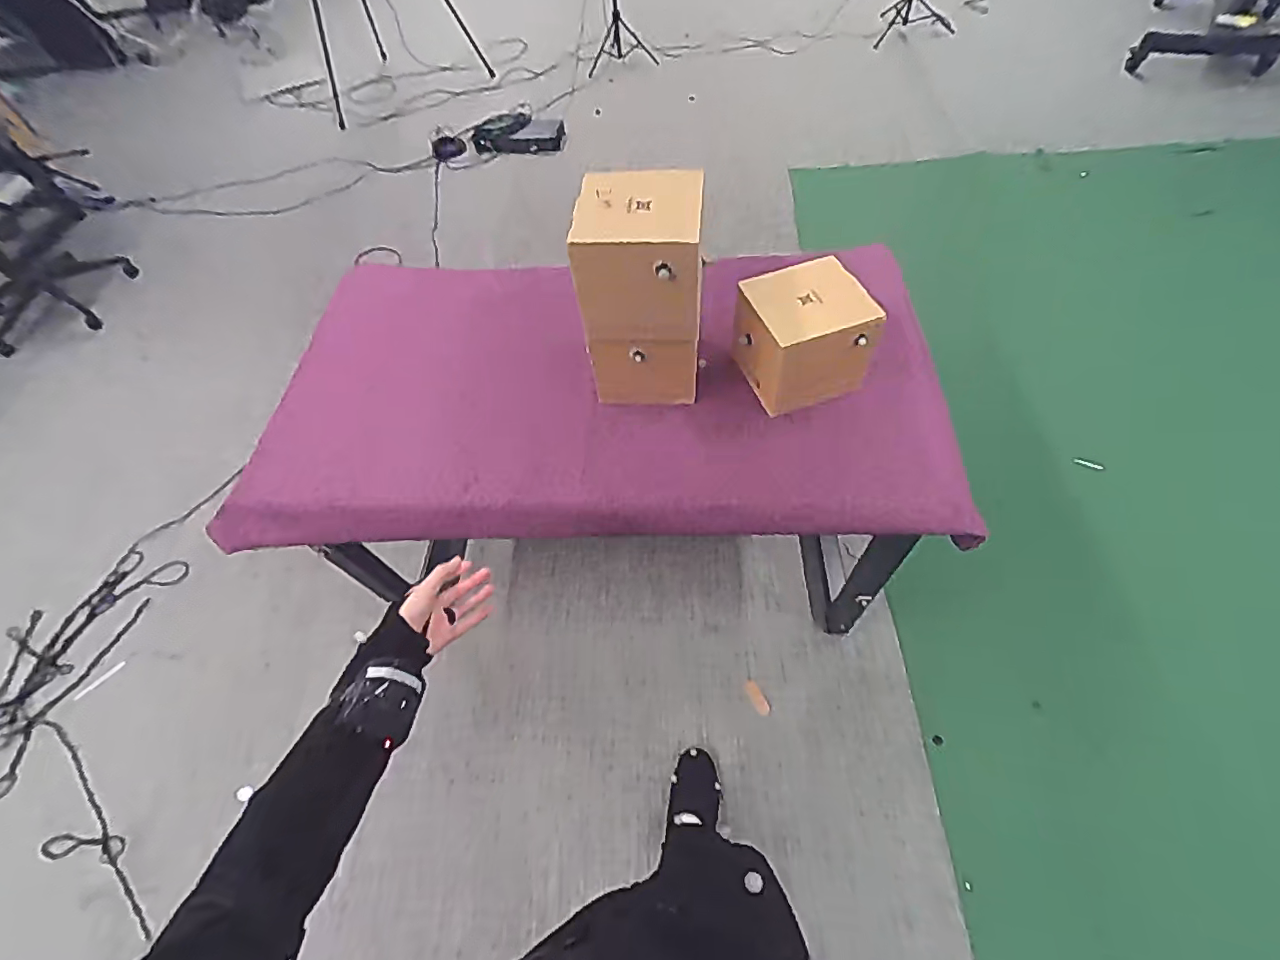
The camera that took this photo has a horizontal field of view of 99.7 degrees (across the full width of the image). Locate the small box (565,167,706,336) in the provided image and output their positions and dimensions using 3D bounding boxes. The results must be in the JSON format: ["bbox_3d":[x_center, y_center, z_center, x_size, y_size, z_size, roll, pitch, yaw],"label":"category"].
[{"bbox_3d":[0.003,-0.329,0.794,0.179,0.176,0.168,3,58,7],"label":"small box"}]

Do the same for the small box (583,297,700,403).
[{"bbox_3d":[0.011,-0.249,0.938,0.179,0.176,0.168,3,59,6],"label":"small box"}]

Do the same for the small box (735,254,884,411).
[{"bbox_3d":[0.269,-0.241,0.909,0.179,0.176,0.168,-18,57,-6],"label":"small box"}]
